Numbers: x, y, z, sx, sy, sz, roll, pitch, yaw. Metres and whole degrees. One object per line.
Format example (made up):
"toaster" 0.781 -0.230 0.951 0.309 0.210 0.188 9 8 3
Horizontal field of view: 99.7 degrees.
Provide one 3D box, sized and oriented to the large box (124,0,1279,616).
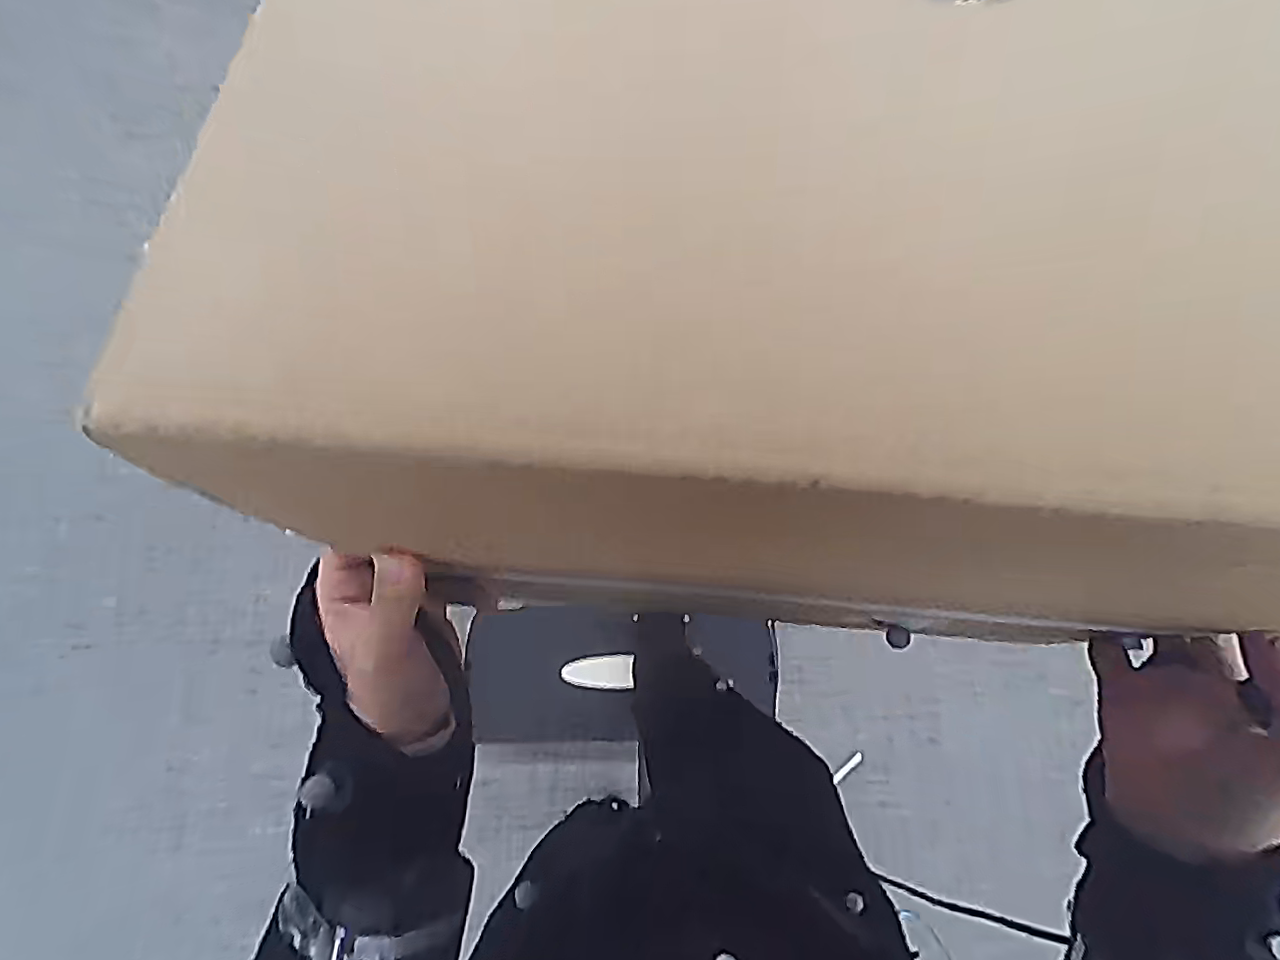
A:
"large box" 0.087 -0.105 0.302 0.408 0.320 0.320 4 73 0
